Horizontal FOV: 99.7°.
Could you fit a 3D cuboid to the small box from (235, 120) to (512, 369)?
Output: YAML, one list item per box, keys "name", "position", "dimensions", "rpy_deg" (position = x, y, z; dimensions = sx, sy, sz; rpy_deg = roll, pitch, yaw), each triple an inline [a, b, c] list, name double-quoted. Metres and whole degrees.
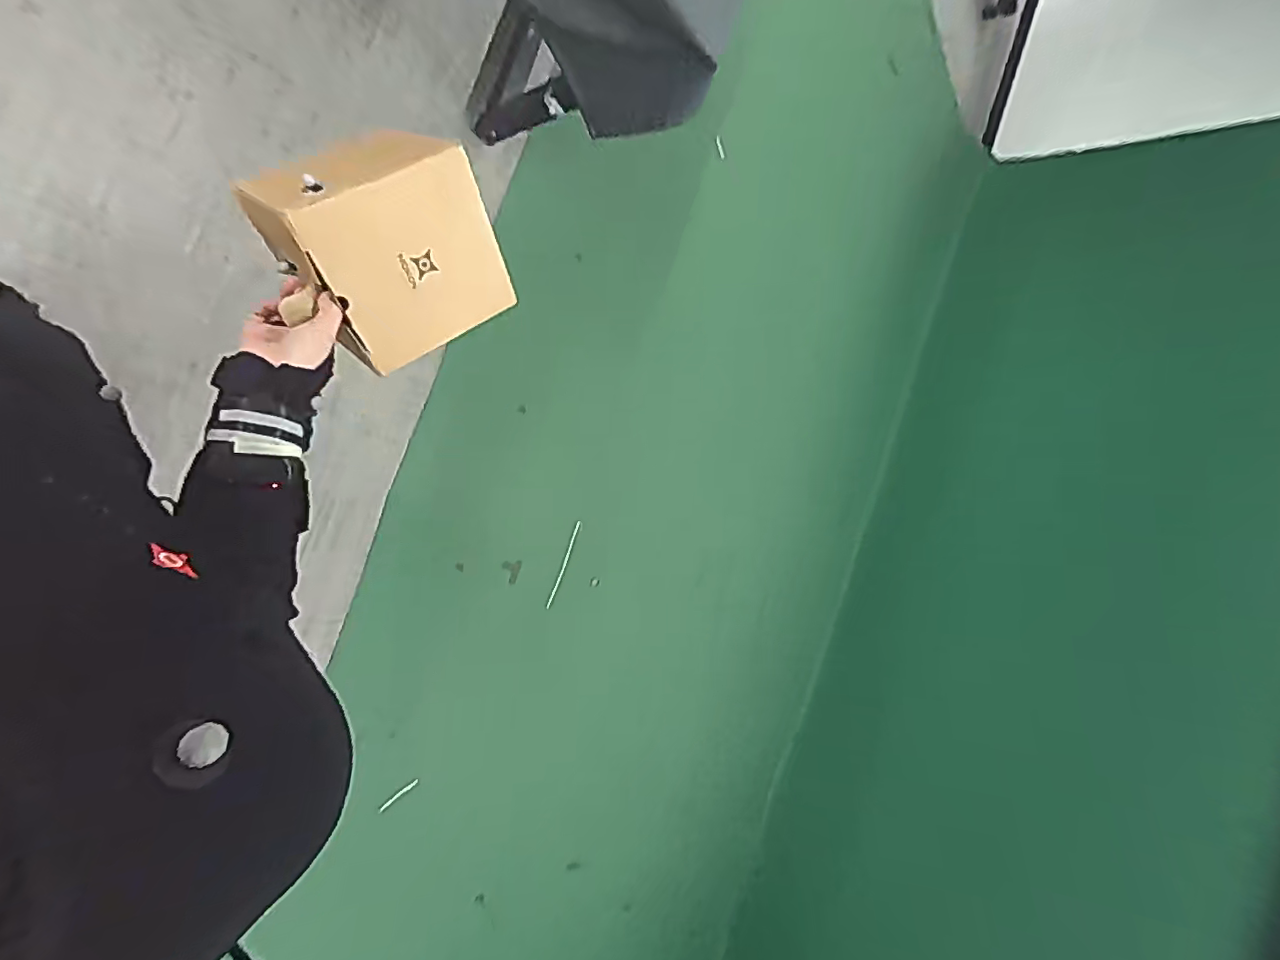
- name: "small box"
  position: [-0.272, -0.253, 0.568]
  dimensions: [0.179, 0.176, 0.168]
  rpy_deg: [-40, 143, -21]
